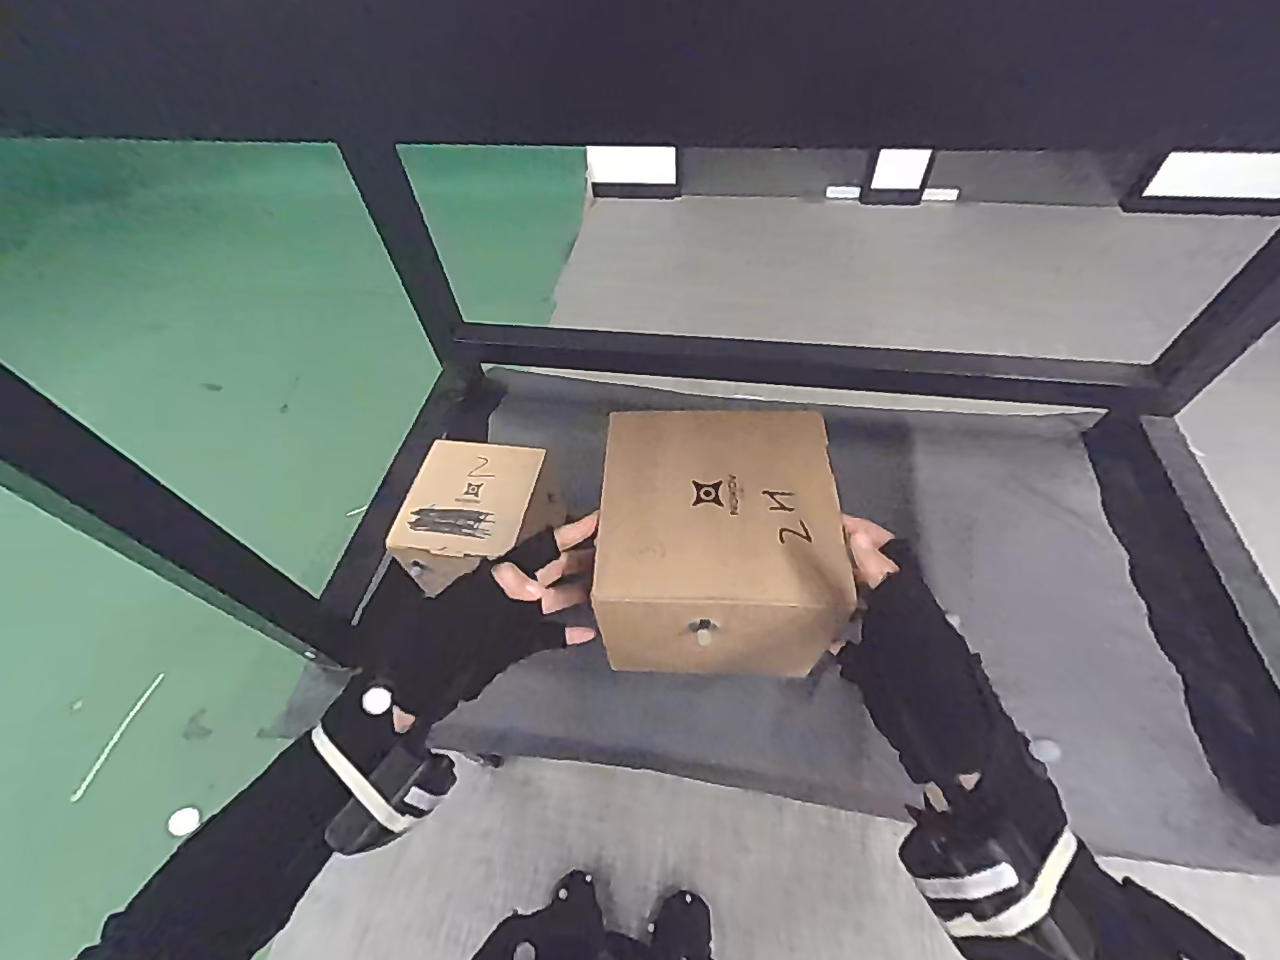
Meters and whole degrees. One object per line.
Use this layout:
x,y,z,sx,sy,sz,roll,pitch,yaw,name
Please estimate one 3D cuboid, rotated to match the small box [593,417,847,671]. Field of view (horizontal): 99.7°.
0.061,0.062,0.476,0.179,0.176,0.168,1,55,3,small box
